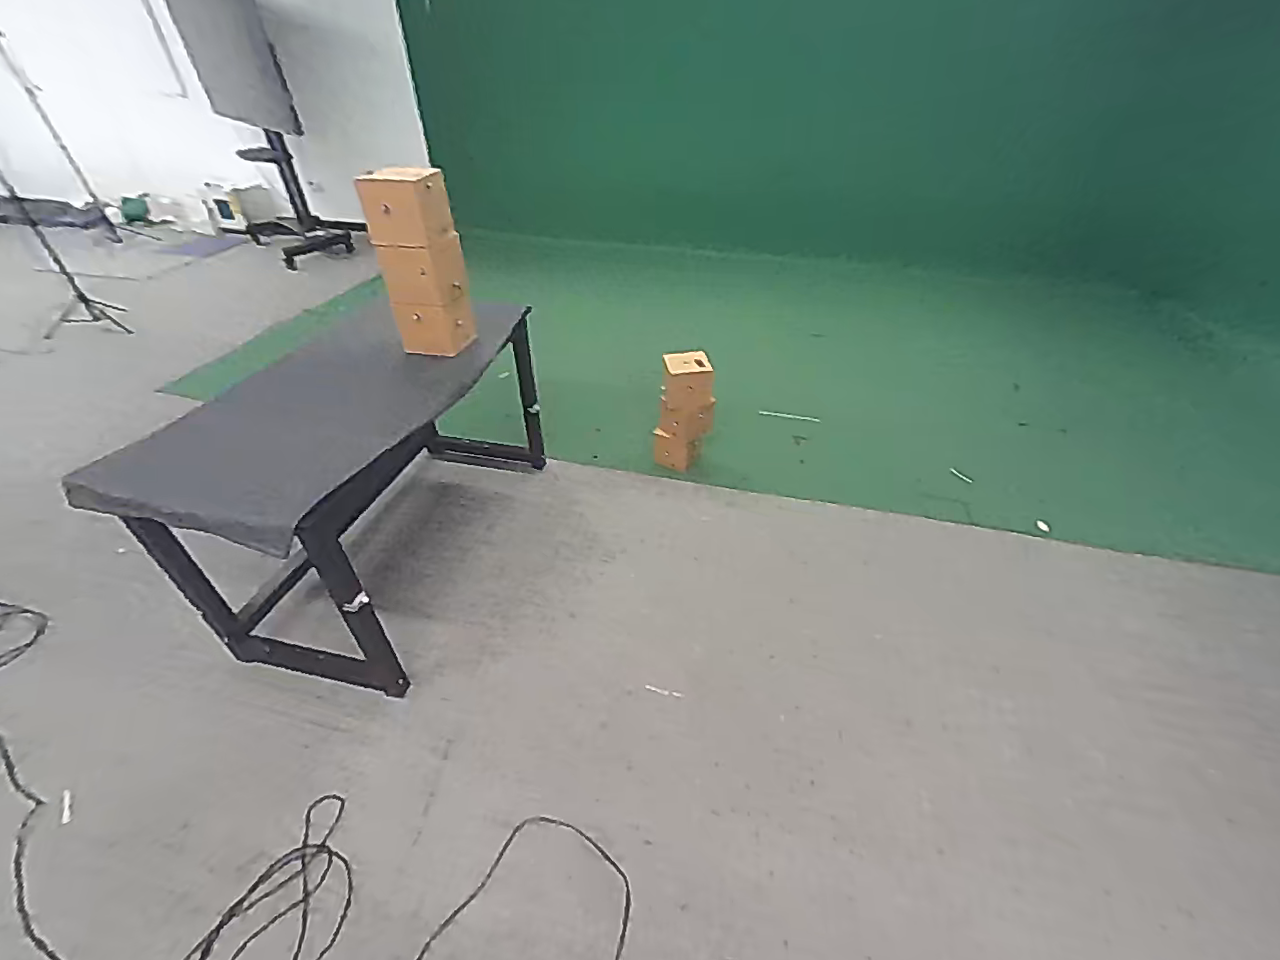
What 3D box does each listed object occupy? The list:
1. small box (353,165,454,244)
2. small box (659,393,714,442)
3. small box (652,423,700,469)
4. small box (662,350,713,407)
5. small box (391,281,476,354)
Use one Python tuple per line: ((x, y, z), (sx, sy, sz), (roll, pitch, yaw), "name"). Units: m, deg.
((-0.647, -0.765, 1.501), (0.179, 0.176, 0.168), (6, 40, 9), "small box")
((0.199, -0.290, 2.340), (0.179, 0.176, 0.168), (-27, 48, -30), "small box")
((0.168, -0.173, 2.454), (0.168, 0.176, 0.179), (21, 44, 22), "small box")
((0.192, -0.418, 2.236), (0.179, 0.176, 0.168), (-6, 41, -7), "small box")
((-0.643, -0.513, 1.711), (0.179, 0.176, 0.168), (8, 40, 11), "small box")
